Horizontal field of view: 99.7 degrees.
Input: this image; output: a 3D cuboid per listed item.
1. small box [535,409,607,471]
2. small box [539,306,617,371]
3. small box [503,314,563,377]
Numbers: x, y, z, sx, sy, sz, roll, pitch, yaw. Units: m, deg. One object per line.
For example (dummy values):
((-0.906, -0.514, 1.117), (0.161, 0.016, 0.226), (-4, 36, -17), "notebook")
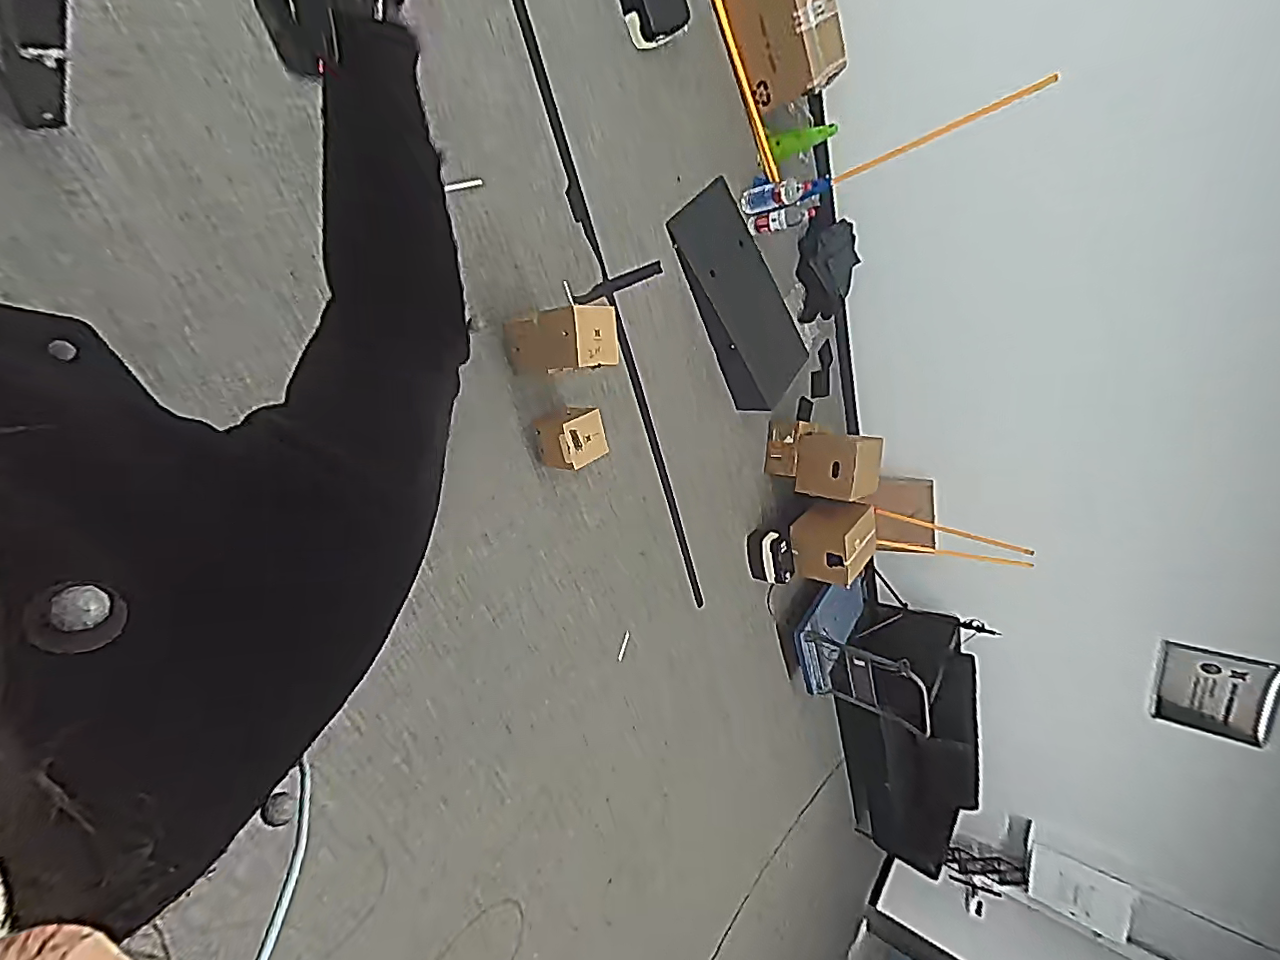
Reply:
((-0.245, -0.143, 1.878), (0.179, 0.176, 0.168), (-32, 119, -41), "small box")
((-0.191, -0.427, 1.643), (0.168, 0.176, 0.179), (-17, 108, -45), "small box")
((-0.315, -0.442, 1.752), (0.168, 0.176, 0.179), (-33, 120, -40), "small box")
